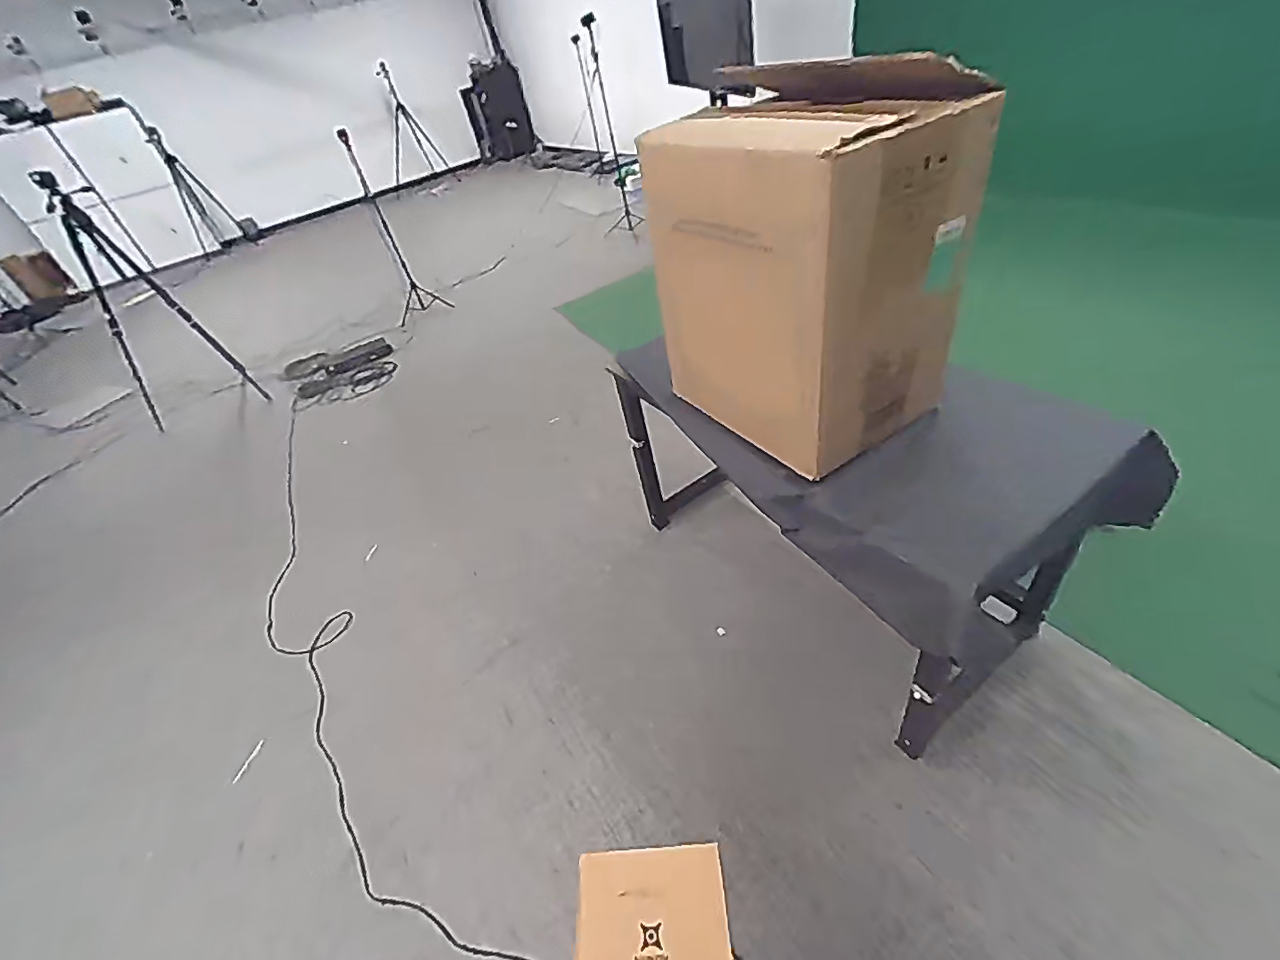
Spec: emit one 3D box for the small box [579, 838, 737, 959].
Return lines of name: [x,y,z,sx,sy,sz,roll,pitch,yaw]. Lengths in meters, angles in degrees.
small box: [0.026,0.545,0.613,0.168,0.176,0.179,-5,33,1]
